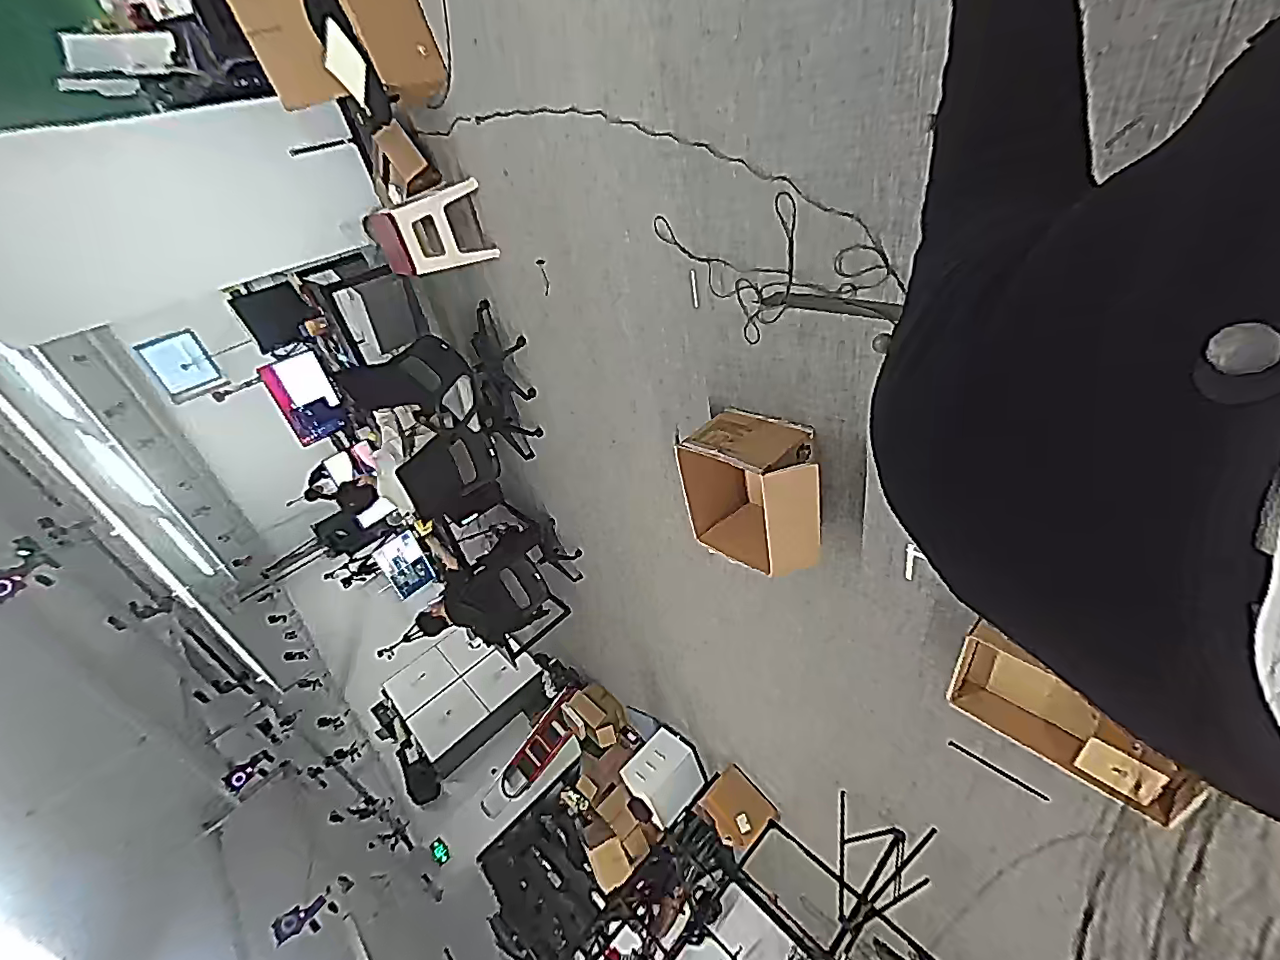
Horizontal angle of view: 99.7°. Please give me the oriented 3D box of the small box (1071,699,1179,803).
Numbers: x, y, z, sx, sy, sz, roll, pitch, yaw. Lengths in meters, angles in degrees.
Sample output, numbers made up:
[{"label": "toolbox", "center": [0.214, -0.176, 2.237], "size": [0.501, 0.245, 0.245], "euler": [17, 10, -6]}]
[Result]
[{"label": "small box", "center": [1.410, 0.781, 1.571], "size": [0.179, 0.176, 0.168], "euler": [28, 139, 42]}]
